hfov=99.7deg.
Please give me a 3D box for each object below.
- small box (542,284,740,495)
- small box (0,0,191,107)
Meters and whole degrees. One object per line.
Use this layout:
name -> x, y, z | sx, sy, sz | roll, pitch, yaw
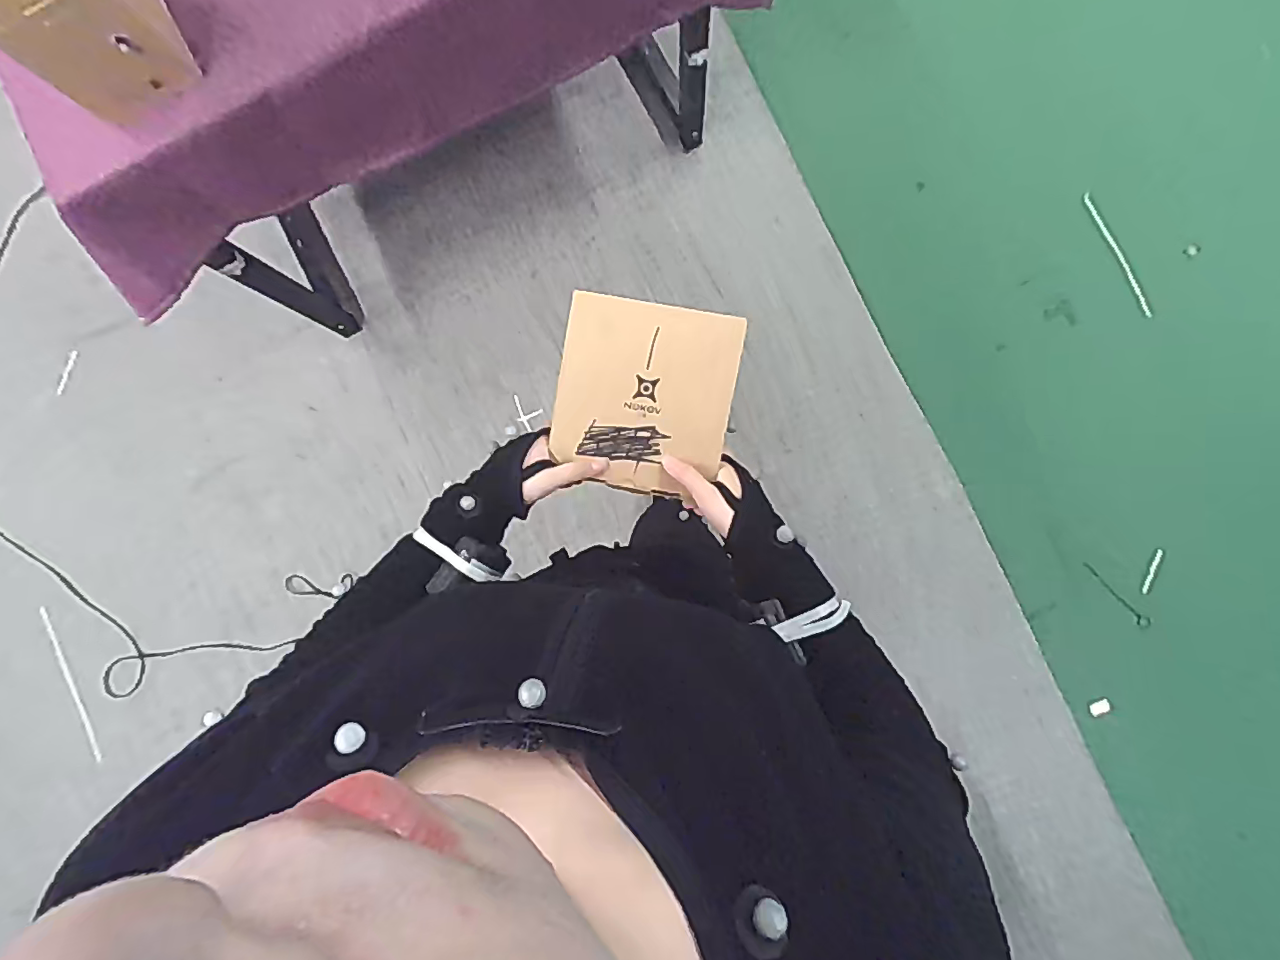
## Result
small box -> 0.004, -0.092, 0.590 | 0.168, 0.176, 0.179 | 10, 96, 2
small box -> -0.801, -0.677, 0.767 | 0.168, 0.176, 0.179 | -29, 85, 0
